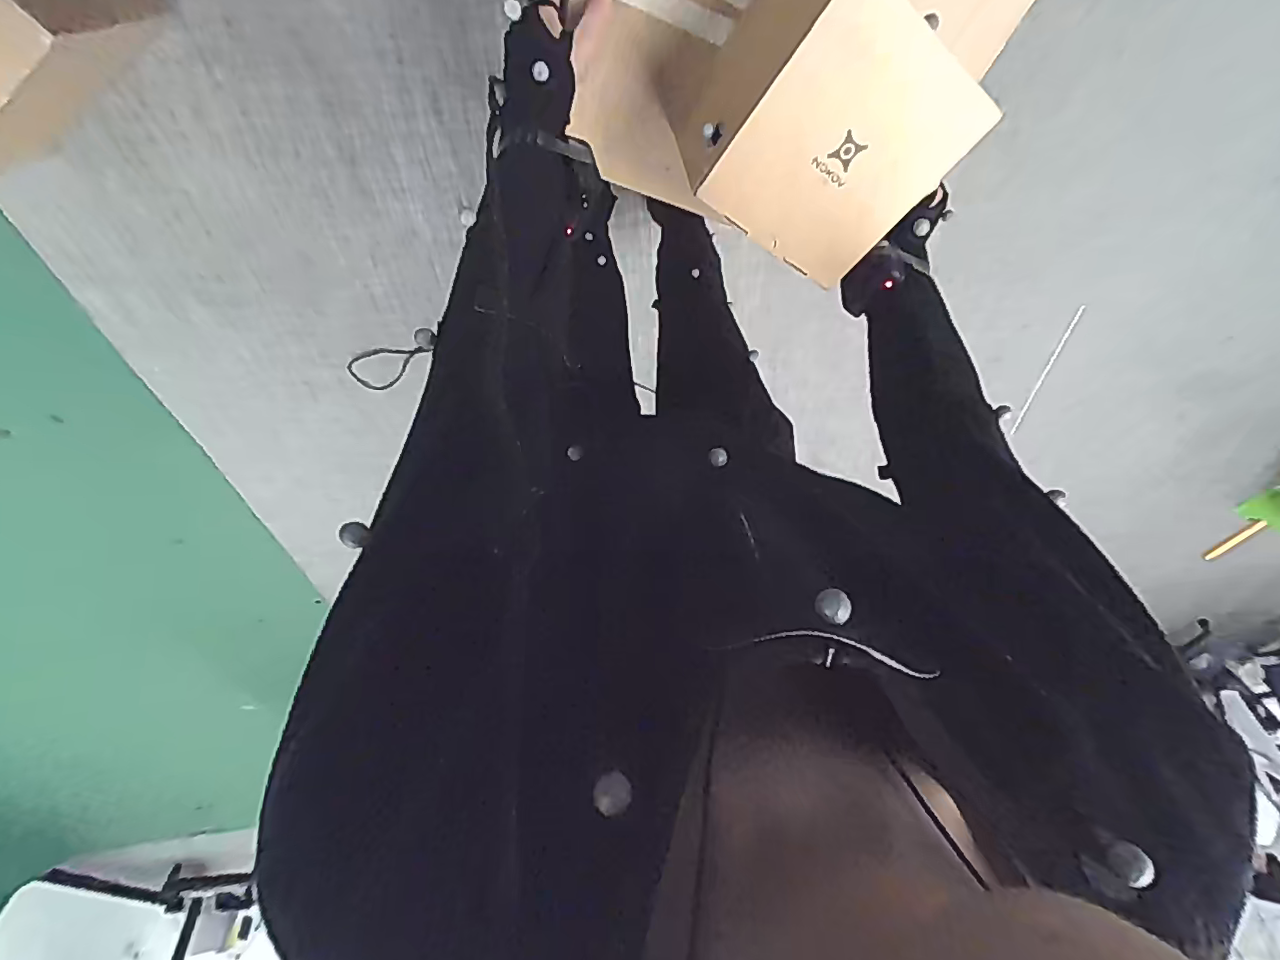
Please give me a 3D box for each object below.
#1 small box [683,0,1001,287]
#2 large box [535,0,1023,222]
[{"bbox_3d":[0.151,-0.315,0.467,0.168,0.176,0.179,21,135,-27],"label":"small box"},{"bbox_3d":[0.121,-0.514,0.609,0.408,0.320,0.320,12,135,-16],"label":"large box"}]
